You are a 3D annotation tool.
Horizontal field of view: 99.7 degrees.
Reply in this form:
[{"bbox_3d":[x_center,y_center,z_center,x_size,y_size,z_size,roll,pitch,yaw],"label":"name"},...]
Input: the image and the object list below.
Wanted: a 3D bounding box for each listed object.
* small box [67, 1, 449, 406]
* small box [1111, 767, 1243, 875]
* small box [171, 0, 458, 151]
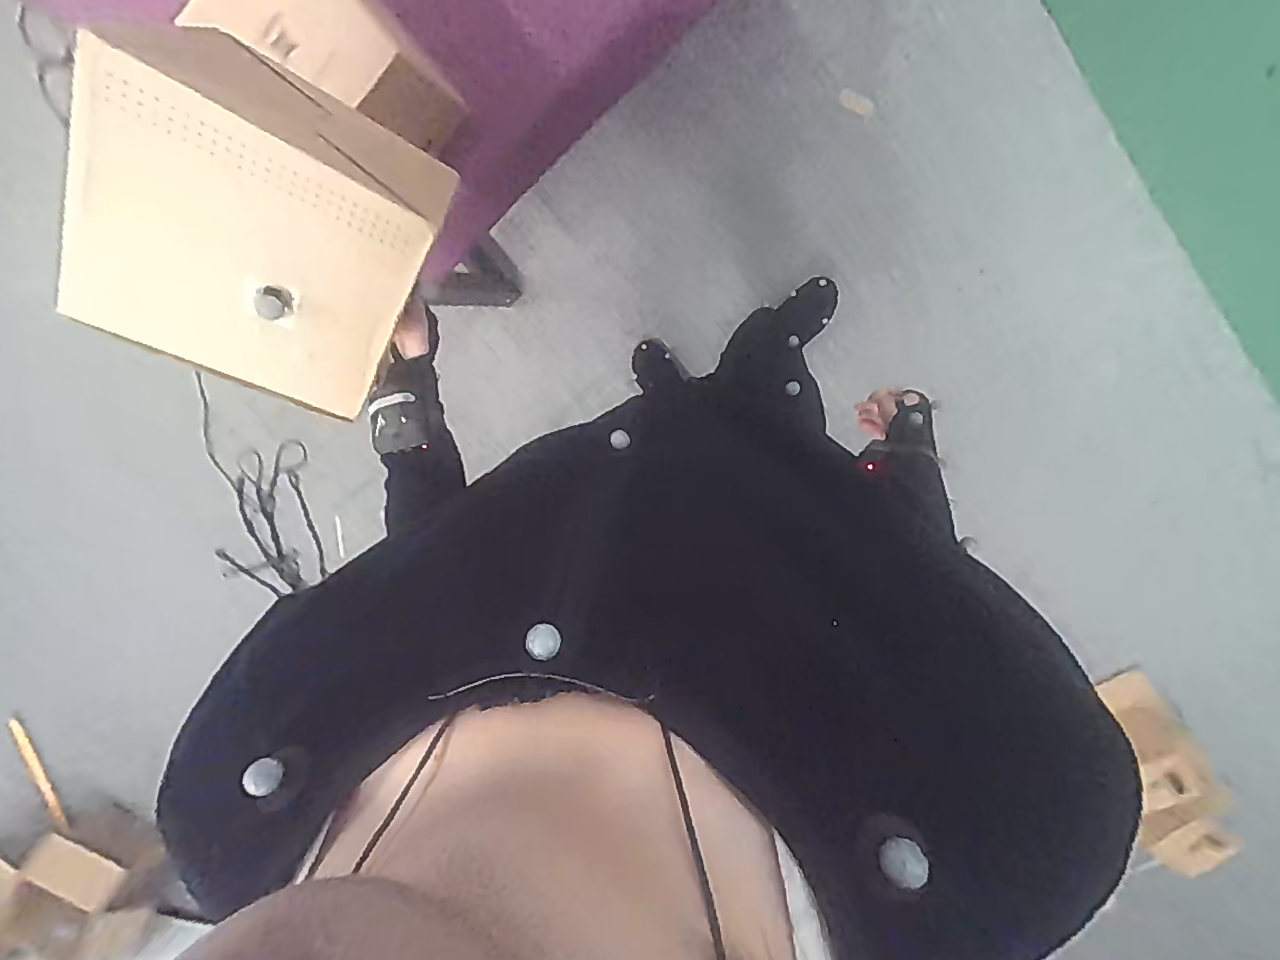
[{"bbox_3d":[-0.248,-0.189,0.386,0.179,0.168,0.176,21,120,-28],"label":"small box"},{"bbox_3d":[1.537,0.976,1.562,0.168,0.176,0.179,35,109,-5],"label":"small box"},{"bbox_3d":[-0.337,-0.435,0.584,0.168,0.176,0.179,-39,100,16],"label":"small box"}]
